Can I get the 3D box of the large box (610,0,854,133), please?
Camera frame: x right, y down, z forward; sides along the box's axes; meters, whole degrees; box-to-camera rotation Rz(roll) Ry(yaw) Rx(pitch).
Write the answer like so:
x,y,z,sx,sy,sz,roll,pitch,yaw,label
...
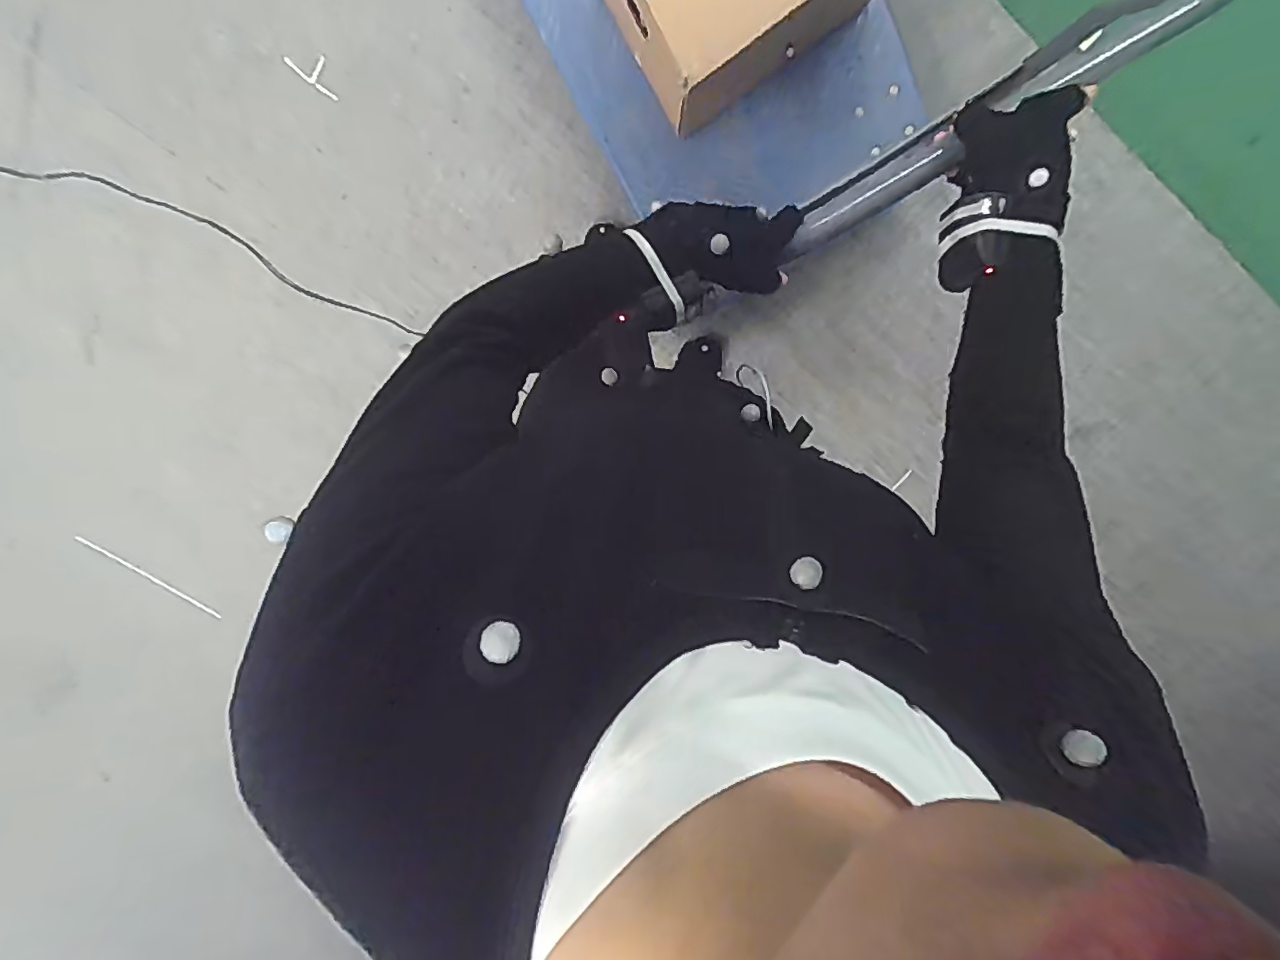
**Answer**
x,y,z,sx,sy,sz,roll,pitch,yaw,label
0.164,-0.862,0.869,0.408,0.320,0.320,-31,106,14,large box
